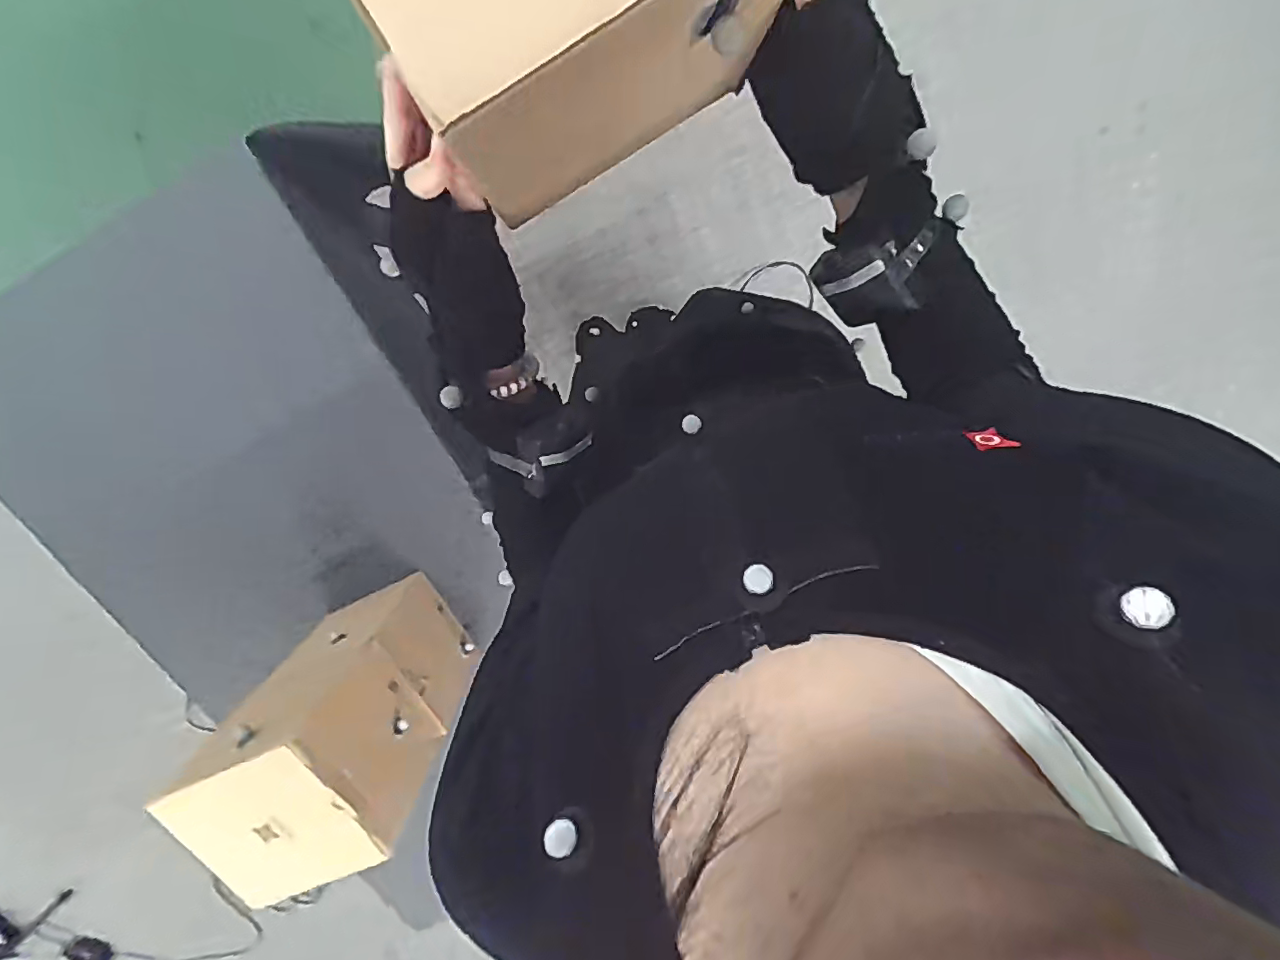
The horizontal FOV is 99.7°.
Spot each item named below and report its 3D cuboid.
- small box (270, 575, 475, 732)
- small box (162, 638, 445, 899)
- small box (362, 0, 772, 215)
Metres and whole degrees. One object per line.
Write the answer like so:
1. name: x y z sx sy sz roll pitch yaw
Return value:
1. small box: -0.357 0.264 0.769 0.179 0.176 0.168 -26 107 10
2. small box: -0.358 0.315 0.615 0.179 0.176 0.168 -26 106 9
3. small box: -0.047 -0.263 0.263 0.179 0.176 0.168 -29 103 4
